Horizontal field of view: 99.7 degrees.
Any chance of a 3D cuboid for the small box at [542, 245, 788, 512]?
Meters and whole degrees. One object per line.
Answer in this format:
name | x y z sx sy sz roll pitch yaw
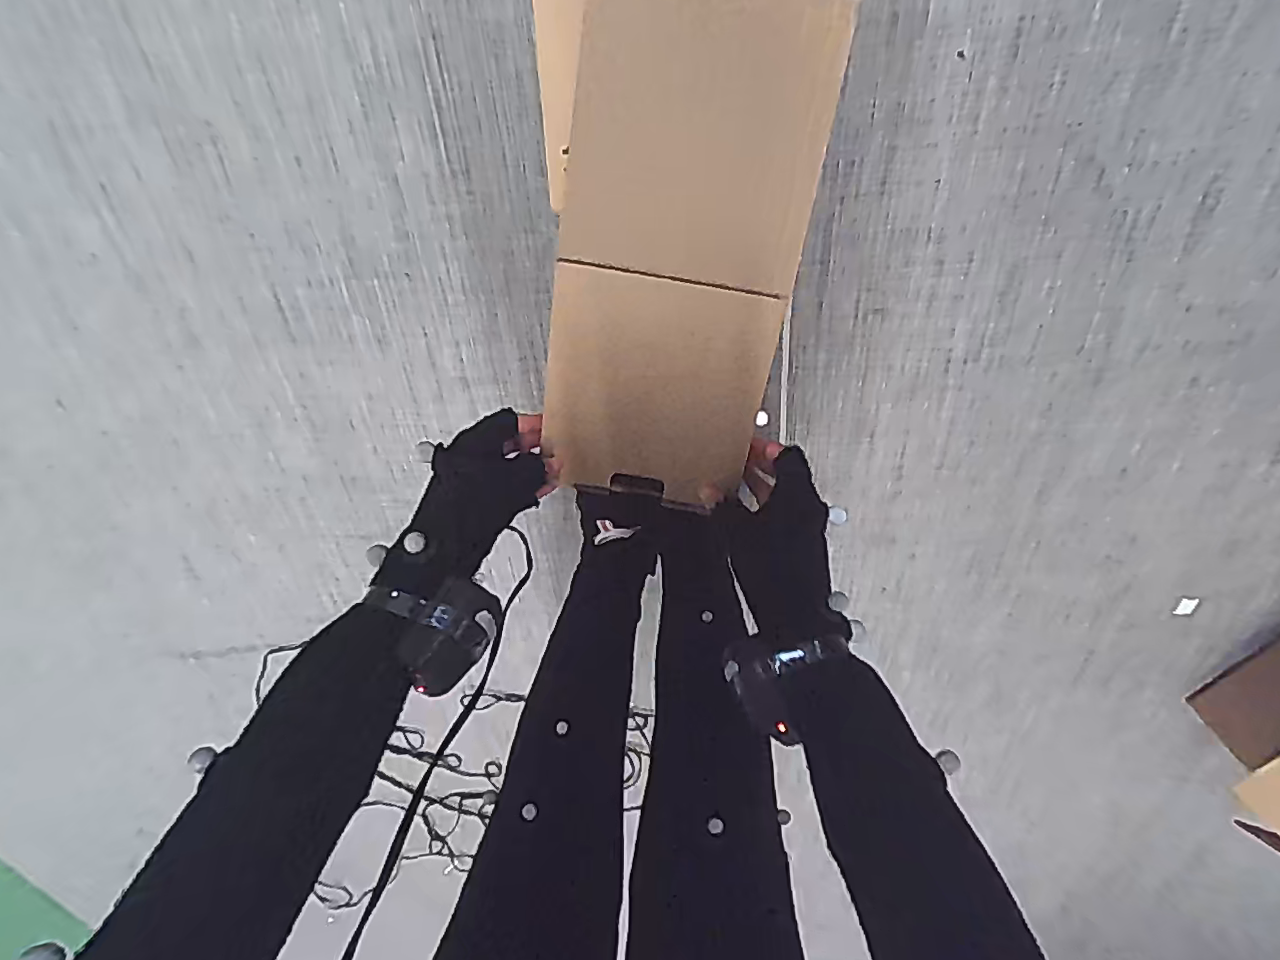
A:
small box | 0.018 -0.098 0.475 0.168 0.176 0.179 9 116 1
